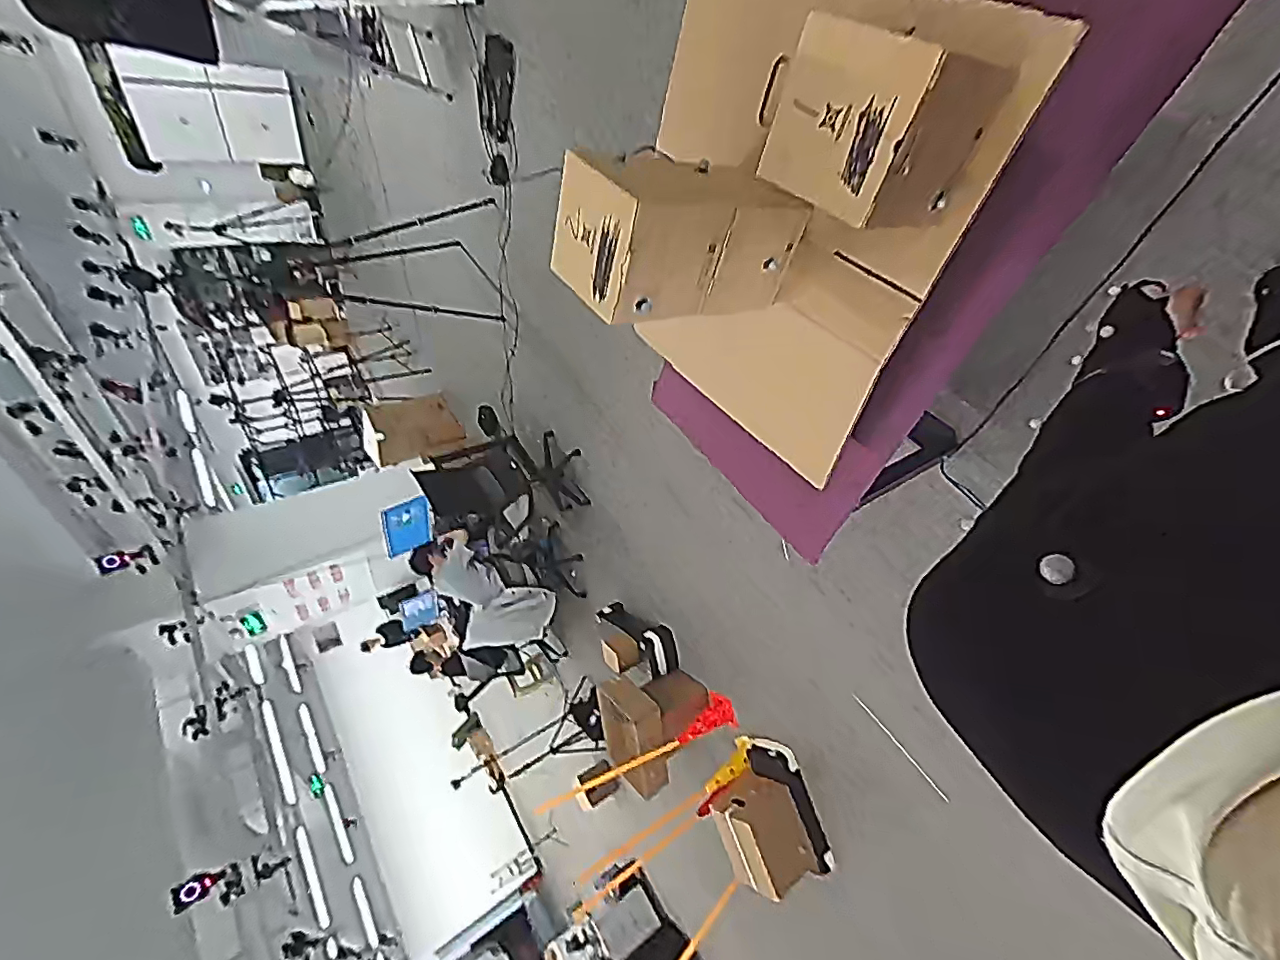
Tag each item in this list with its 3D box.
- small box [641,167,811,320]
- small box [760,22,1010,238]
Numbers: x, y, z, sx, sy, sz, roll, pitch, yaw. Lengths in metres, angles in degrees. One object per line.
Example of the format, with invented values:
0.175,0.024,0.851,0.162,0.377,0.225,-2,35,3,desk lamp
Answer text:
0.132,-0.376,0.864,0.179,0.176,0.168,48,140,29,small box
0.283,-0.406,0.638,0.179,0.176,0.168,49,141,31,small box
